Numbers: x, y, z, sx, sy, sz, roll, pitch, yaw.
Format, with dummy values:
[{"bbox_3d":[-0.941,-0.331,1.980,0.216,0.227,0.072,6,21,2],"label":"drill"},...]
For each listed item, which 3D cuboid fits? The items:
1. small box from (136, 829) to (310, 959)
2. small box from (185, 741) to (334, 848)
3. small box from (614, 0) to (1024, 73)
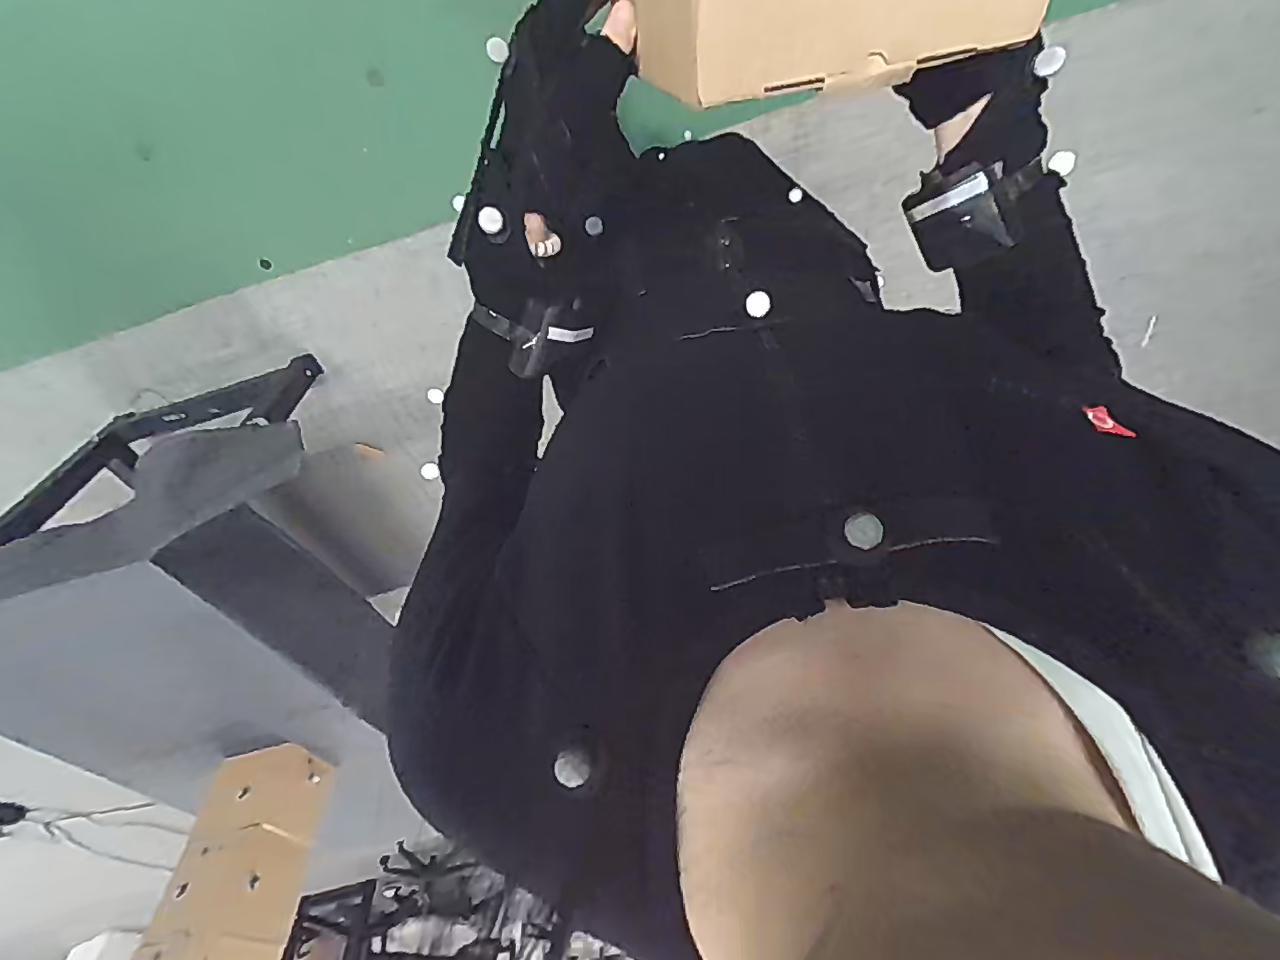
[{"bbox_3d":[-0.794,0.804,1.053,0.168,0.176,0.179,-16,130,6],"label":"small box"},{"bbox_3d":[-0.811,0.698,1.176,0.179,0.176,0.168,-16,130,4],"label":"small box"},{"bbox_3d":[0.070,-0.310,0.239,0.168,0.176,0.179,-14,134,-6],"label":"small box"}]
